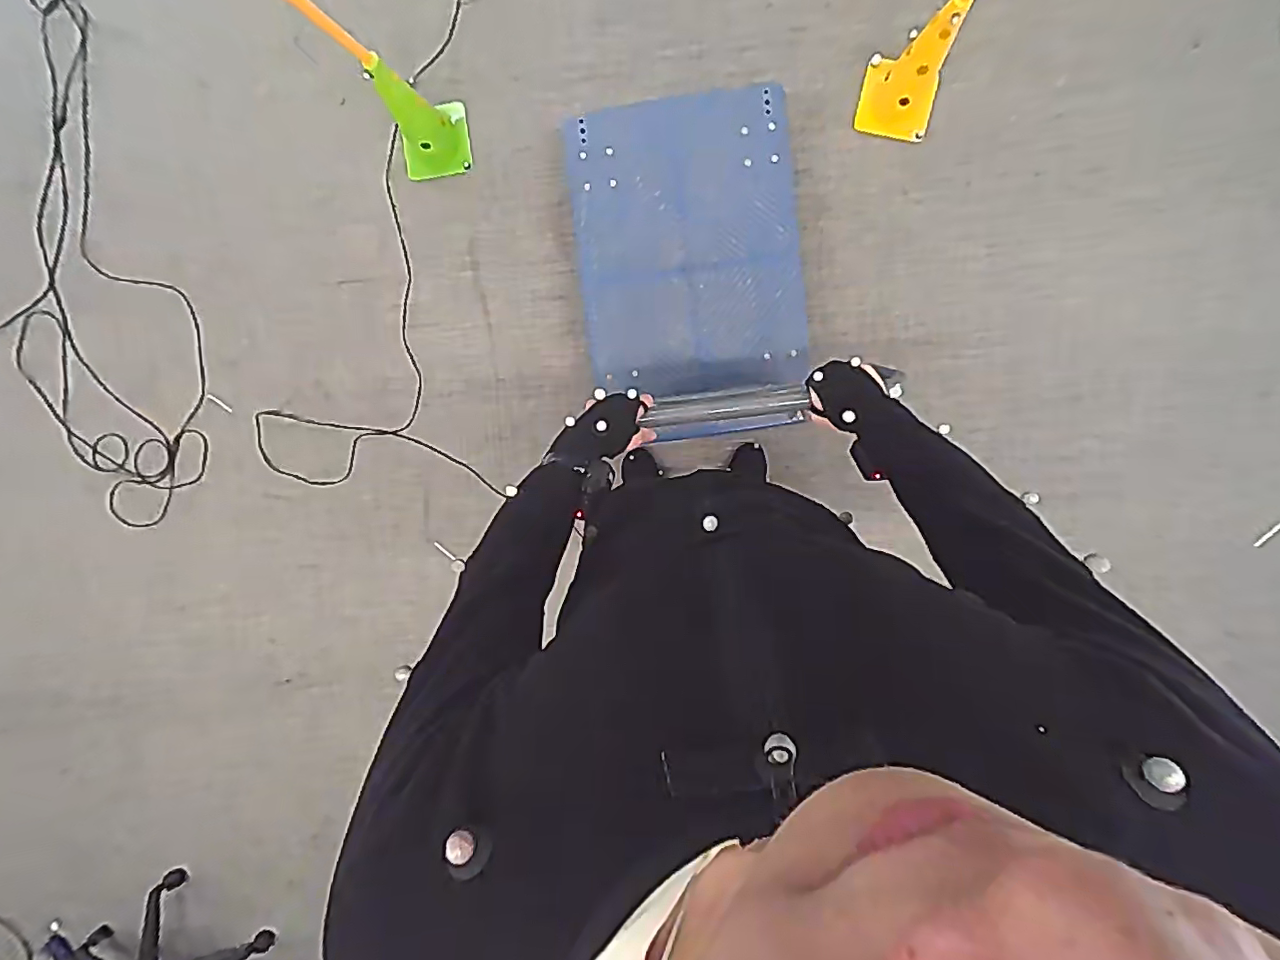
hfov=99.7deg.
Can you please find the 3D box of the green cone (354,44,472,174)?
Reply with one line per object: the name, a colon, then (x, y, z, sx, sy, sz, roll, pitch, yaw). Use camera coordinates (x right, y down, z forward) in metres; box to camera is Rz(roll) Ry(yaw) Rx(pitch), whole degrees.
green cone: (-0.617, -1.002, 1.419, 0.202, 0.368, 0.200, -7, 94, 6)
